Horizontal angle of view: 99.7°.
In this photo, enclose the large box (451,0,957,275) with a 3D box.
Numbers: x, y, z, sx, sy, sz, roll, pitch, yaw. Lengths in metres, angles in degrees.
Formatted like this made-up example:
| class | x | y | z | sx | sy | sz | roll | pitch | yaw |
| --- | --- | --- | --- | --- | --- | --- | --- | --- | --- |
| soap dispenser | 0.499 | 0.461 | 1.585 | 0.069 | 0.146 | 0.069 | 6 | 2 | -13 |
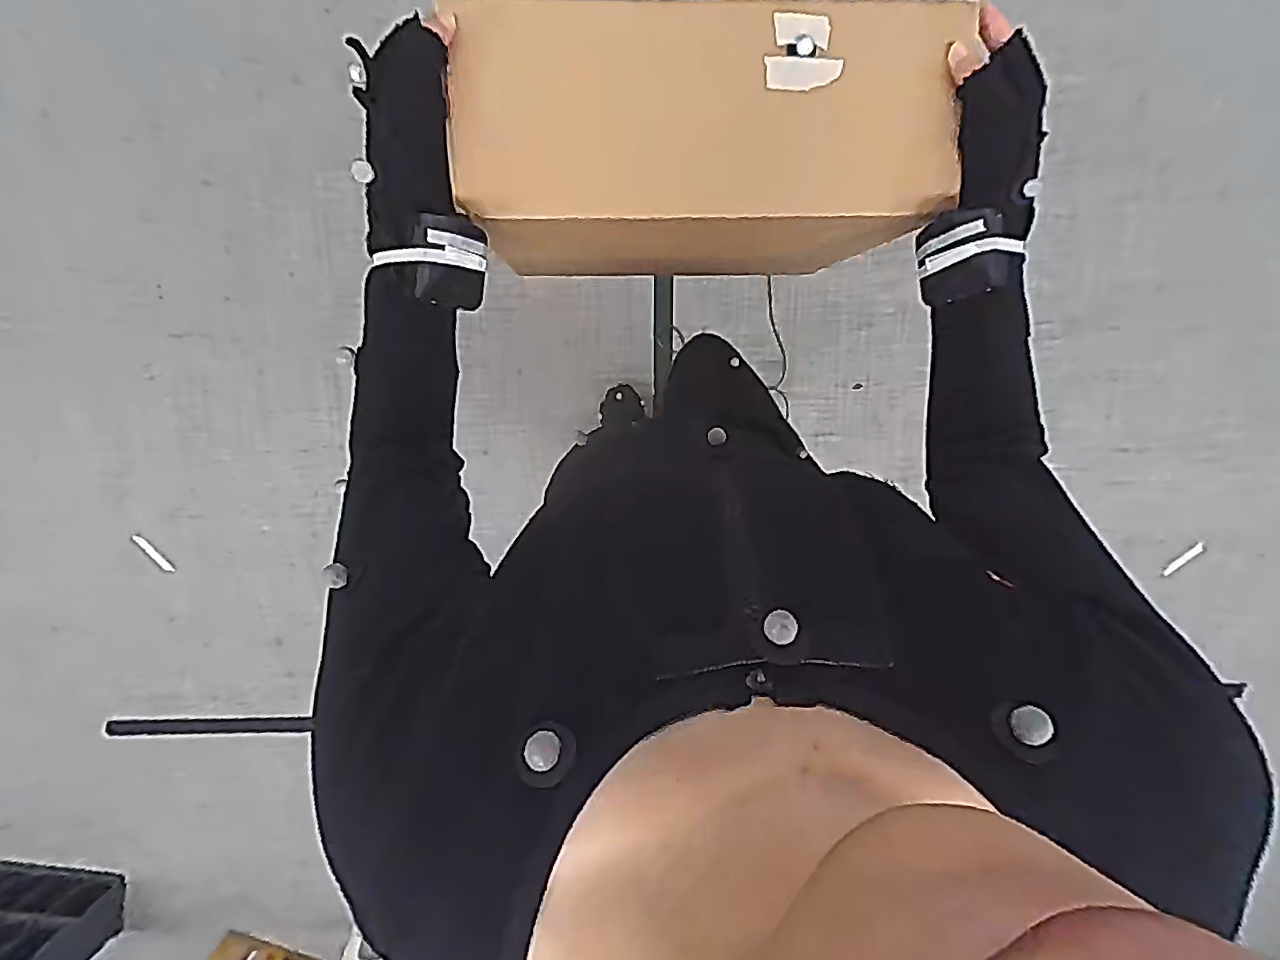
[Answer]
| class | x | y | z | sx | sy | sz | roll | pitch | yaw |
| --- | --- | --- | --- | --- | --- | --- | --- | --- | --- |
| large box | 0.041 | -0.404 | 0.561 | 0.408 | 0.320 | 0.320 | -2 | 103 | -4 |
